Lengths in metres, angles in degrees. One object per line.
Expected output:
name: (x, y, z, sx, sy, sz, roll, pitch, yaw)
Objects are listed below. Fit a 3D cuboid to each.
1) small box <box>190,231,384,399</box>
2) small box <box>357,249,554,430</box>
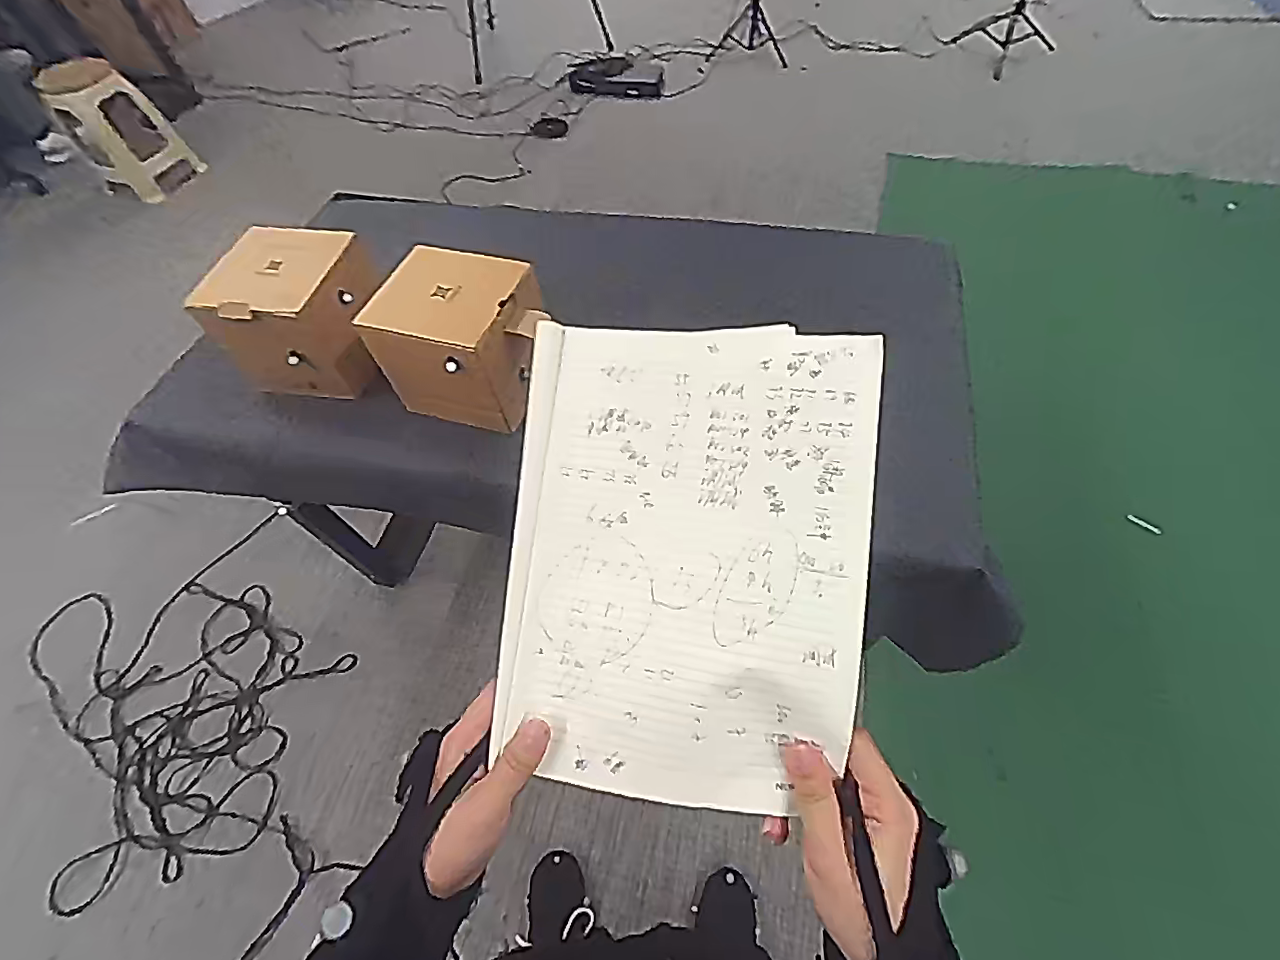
small box: (-0.490, -0.241, 0.803, 0.168, 0.176, 0.179, 6, 57, 7)
small box: (-0.240, -0.191, 0.754, 0.179, 0.176, 0.168, 13, 59, 12)
